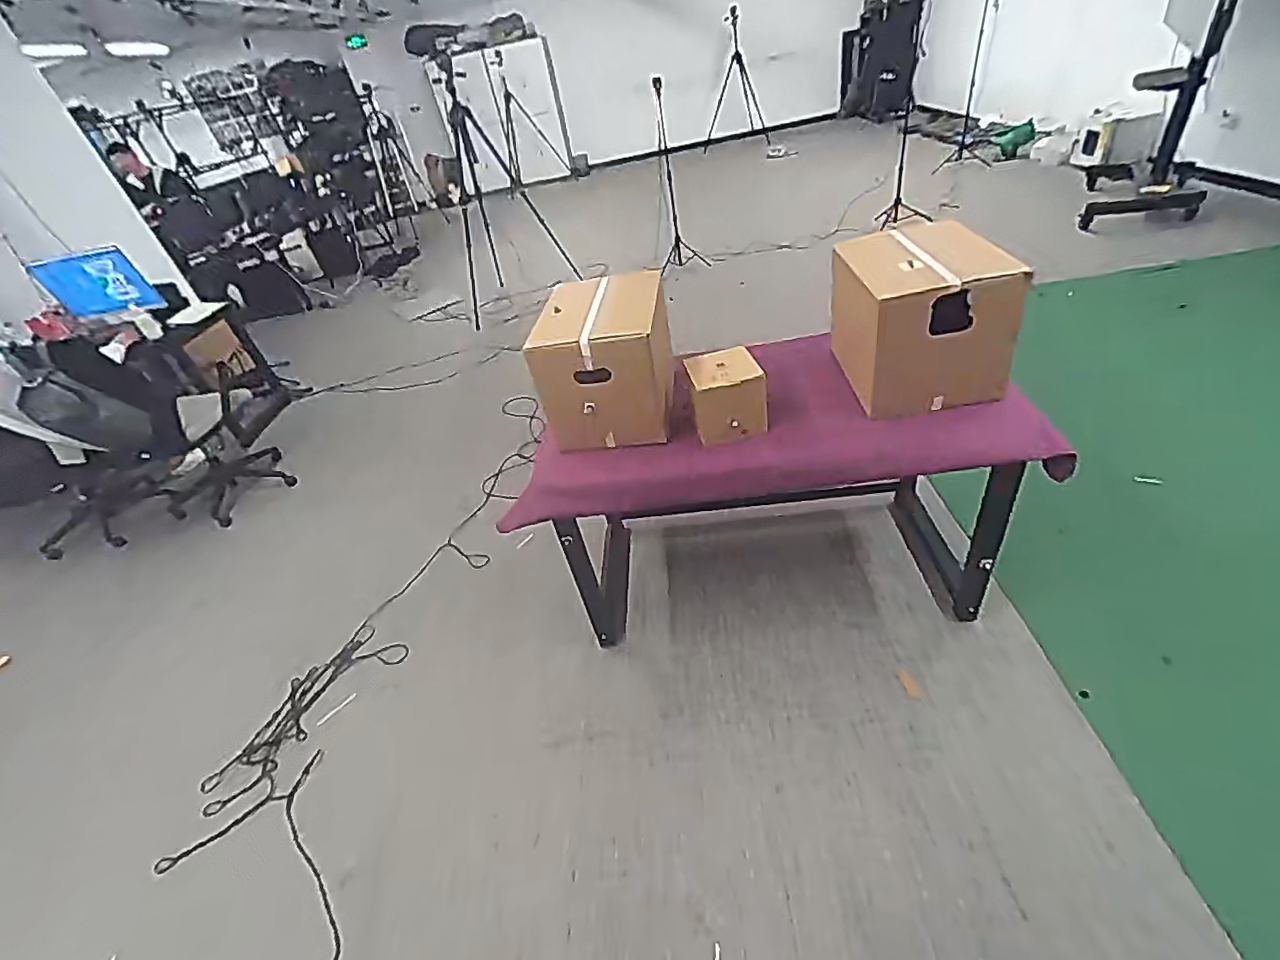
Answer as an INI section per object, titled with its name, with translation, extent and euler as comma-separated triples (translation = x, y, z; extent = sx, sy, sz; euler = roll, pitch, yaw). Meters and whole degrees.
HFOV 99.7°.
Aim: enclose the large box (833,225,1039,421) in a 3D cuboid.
[large box]
translation = 0.698, -0.403, 1.366
extent = 0.320, 0.320, 0.408
euler = -9, 39, 9
